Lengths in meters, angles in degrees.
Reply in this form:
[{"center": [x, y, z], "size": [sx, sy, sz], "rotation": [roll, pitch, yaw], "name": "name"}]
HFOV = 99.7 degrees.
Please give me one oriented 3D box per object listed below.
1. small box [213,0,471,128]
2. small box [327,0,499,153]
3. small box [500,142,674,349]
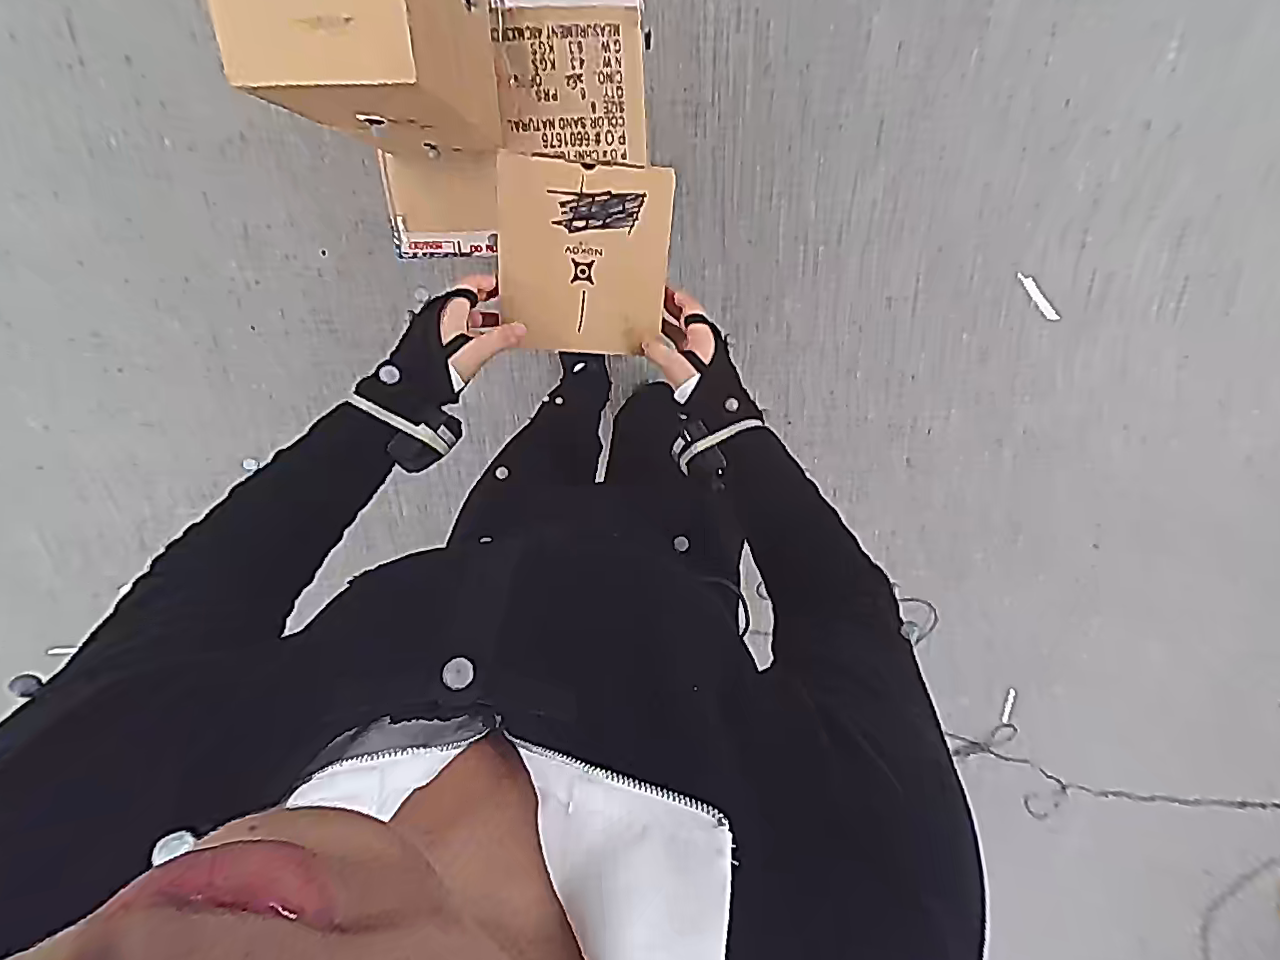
[{"center": [-0.272, -0.453, 0.511], "size": [0.168, 0.176, 0.179], "rotation": [-1, 113, 0], "name": "small box"}, {"center": [-0.278, -0.516, 0.661], "size": [0.168, 0.176, 0.179], "rotation": [-1, 113, 0], "name": "small box"}, {"center": [-0.066, -0.252, 0.603], "size": [0.168, 0.176, 0.179], "rotation": [1, 113, -9], "name": "small box"}]
